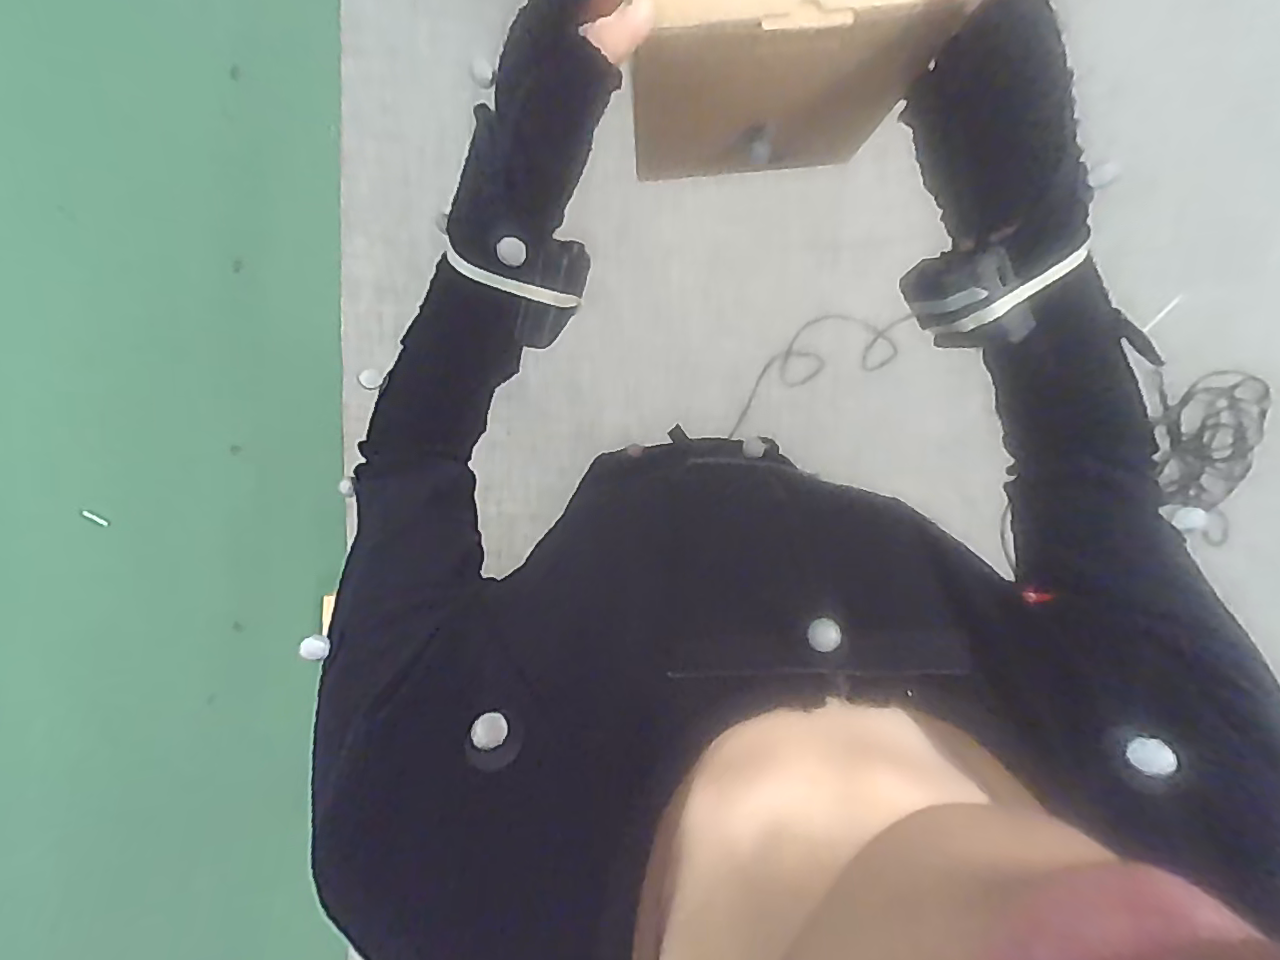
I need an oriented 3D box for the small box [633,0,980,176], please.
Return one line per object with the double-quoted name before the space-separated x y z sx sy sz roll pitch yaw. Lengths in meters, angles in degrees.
"small box" 0.079 -0.318 0.329 0.168 0.176 0.179 -4 96 1
